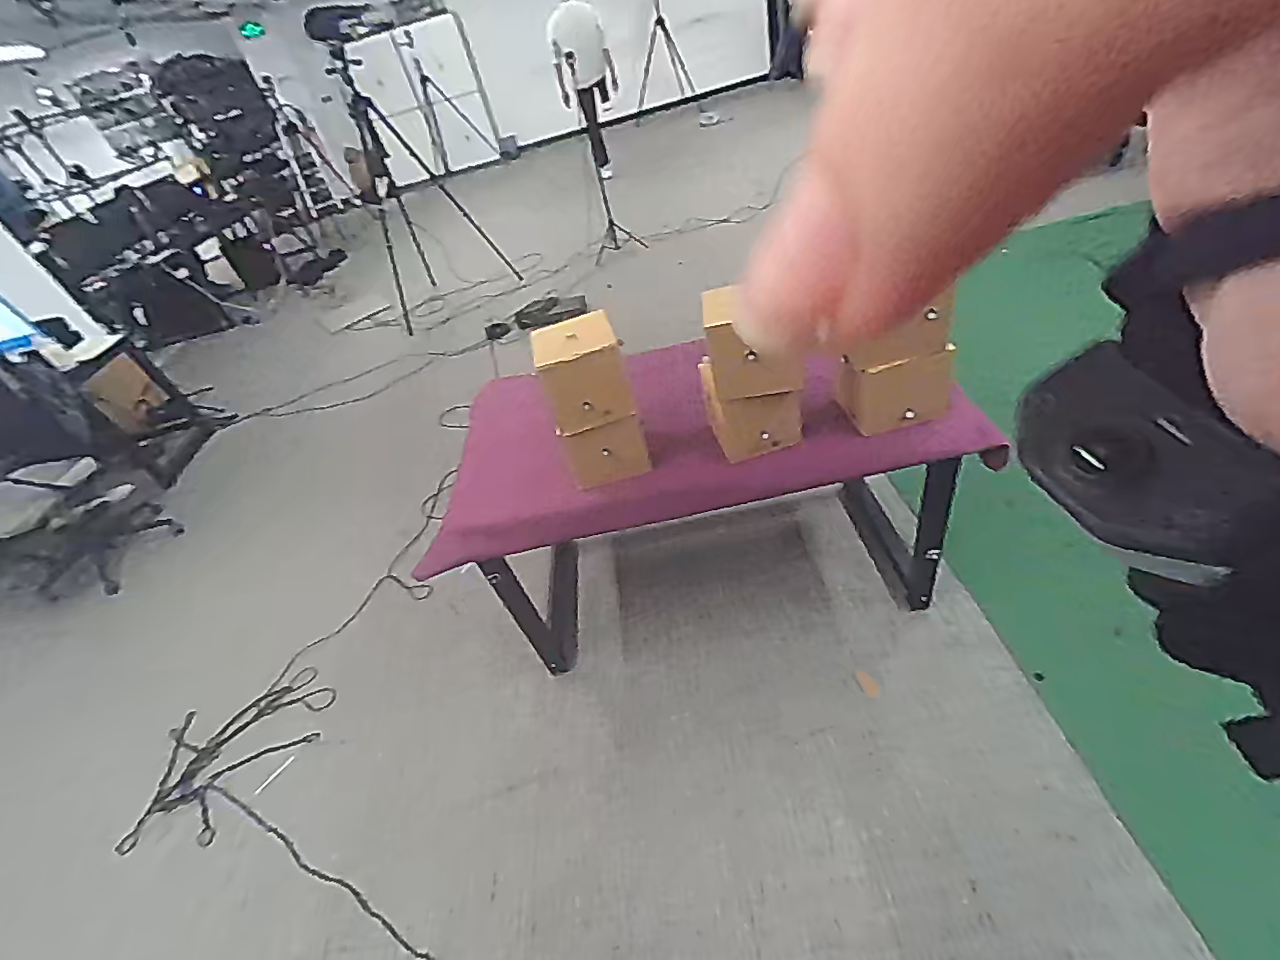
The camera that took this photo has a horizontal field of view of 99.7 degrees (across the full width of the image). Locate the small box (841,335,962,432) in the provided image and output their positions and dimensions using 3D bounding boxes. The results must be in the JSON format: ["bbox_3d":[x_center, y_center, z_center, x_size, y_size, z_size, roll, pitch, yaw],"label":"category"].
[{"bbox_3d":[0.542,-0.228,1.151,0.179,0.176,0.168,-15,41,3],"label":"small box"}]

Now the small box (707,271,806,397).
[{"bbox_3d":[0.232,-0.286,1.073,0.179,0.176,0.168,-8,41,13],"label":"small box"}]

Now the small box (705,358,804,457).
[{"bbox_3d":[0.253,-0.179,1.199,0.168,0.176,0.179,-17,40,2],"label":"small box"}]
